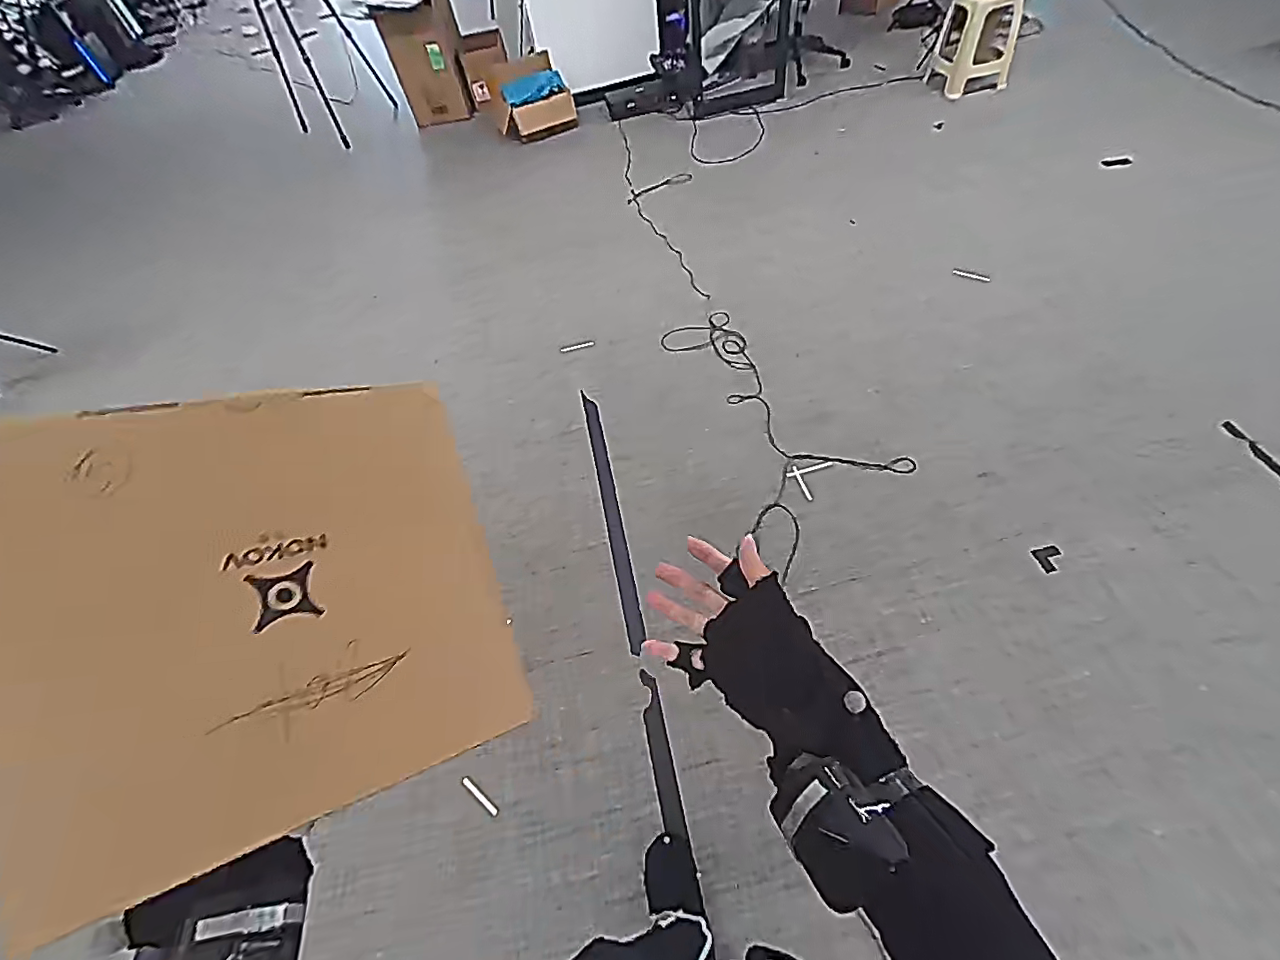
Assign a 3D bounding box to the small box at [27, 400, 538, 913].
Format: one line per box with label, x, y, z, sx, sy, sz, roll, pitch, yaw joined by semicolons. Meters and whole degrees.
small box;-0.179;0.077;0.296;0.168;0.176;0.179;-11;74;-33
